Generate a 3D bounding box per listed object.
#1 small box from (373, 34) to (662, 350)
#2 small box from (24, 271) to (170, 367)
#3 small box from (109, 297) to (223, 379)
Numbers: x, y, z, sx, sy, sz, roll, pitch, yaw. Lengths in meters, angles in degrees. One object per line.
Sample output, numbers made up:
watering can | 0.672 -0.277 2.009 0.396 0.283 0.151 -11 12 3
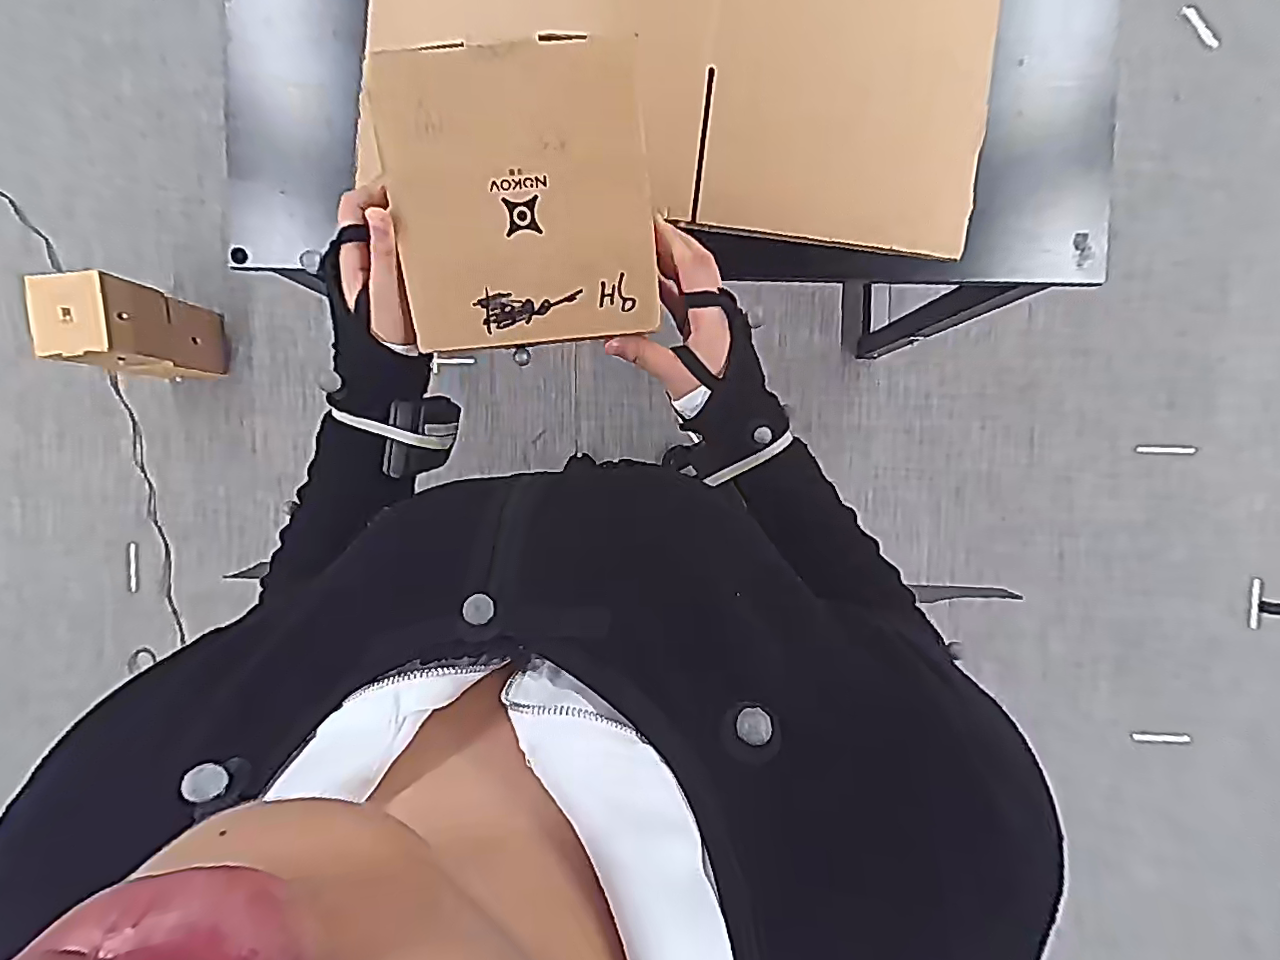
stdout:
small box | -0.076 -0.196 0.418 0.168 0.176 0.179 -5 104 -1
small box | -1.238 -0.362 1.248 0.168 0.176 0.179 -6 92 0
small box | -1.234 -0.364 1.410 0.168 0.176 0.179 -2 94 1
